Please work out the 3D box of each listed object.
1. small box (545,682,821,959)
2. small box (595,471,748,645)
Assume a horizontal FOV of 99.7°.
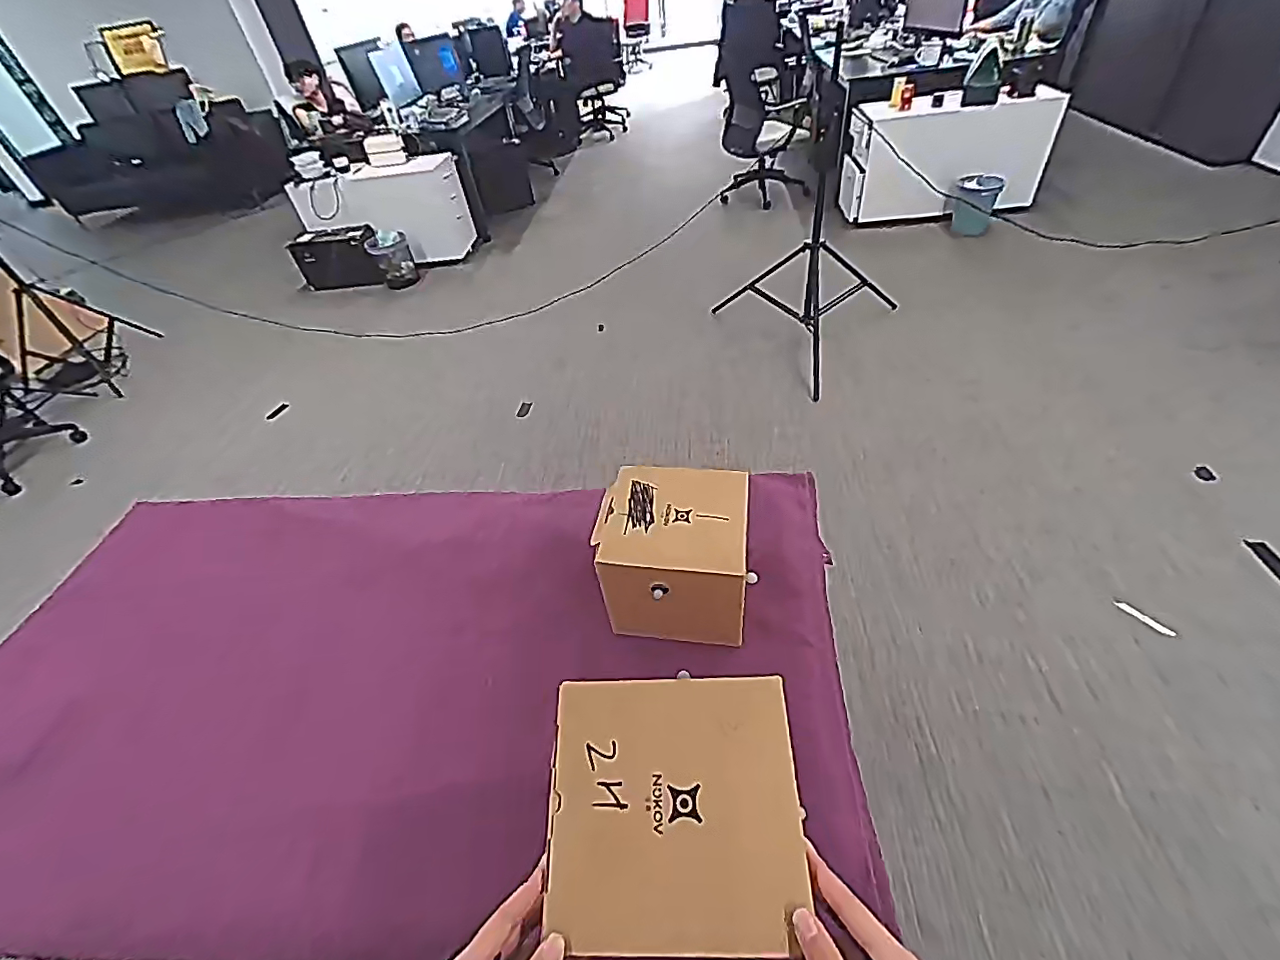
[{"bbox_3d":[0.033,0.270,0.447,0.179,0.176,0.168,-3,57,5],"label":"small box"},{"bbox_3d":[0.053,0.106,0.731,0.179,0.176,0.168,3,46,11],"label":"small box"}]
